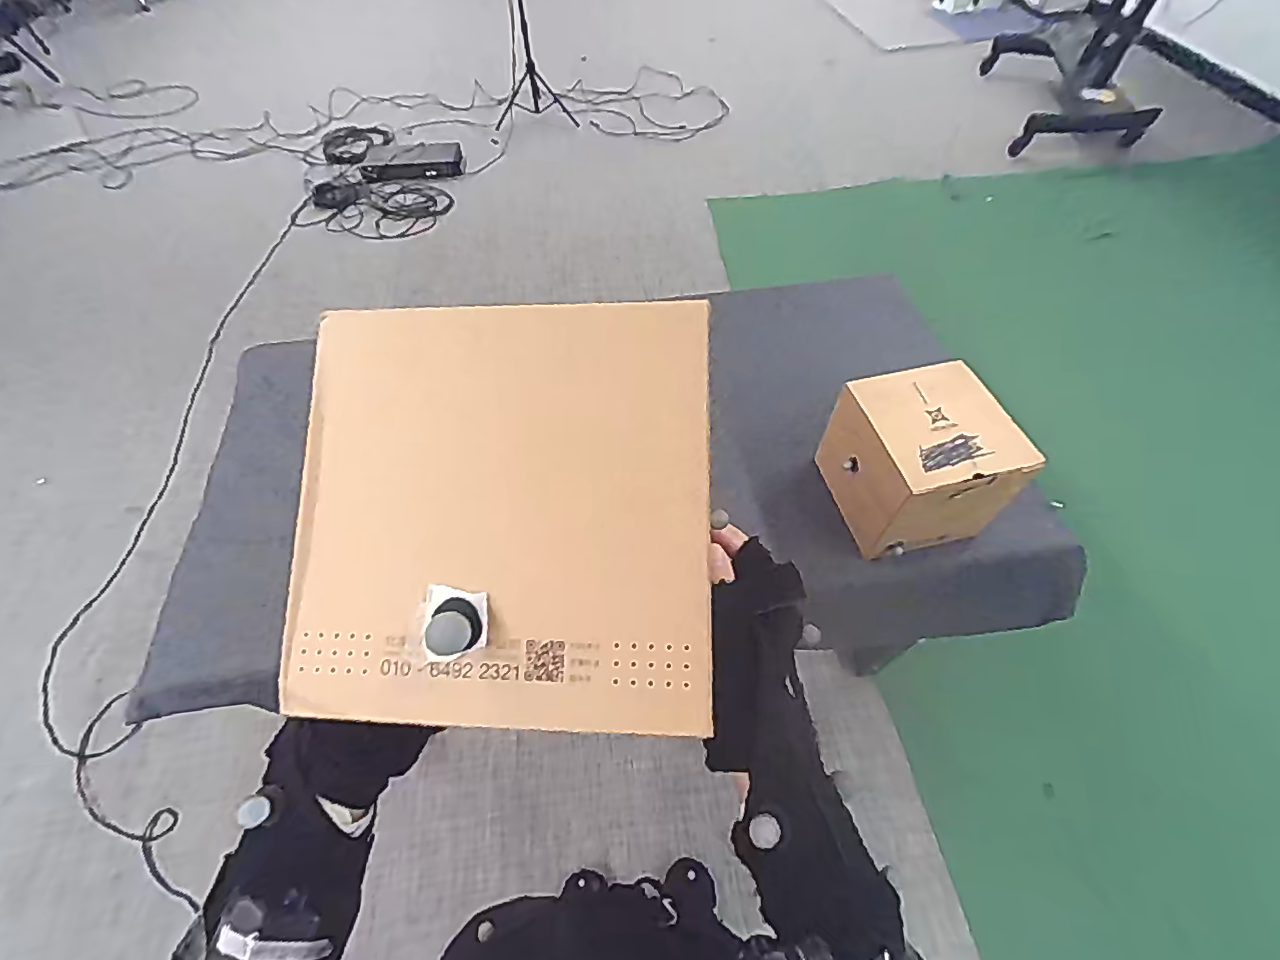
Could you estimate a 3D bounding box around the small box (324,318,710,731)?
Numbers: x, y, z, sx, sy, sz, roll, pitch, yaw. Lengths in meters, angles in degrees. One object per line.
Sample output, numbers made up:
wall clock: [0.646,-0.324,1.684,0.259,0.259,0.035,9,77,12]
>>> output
small box: [-0.048,0.025,0.304,0.168,0.179,0.176,0,81,4]

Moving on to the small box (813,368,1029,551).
small box: [0.355,-0.019,0.725,0.168,0.176,0.179,-11,55,-6]
